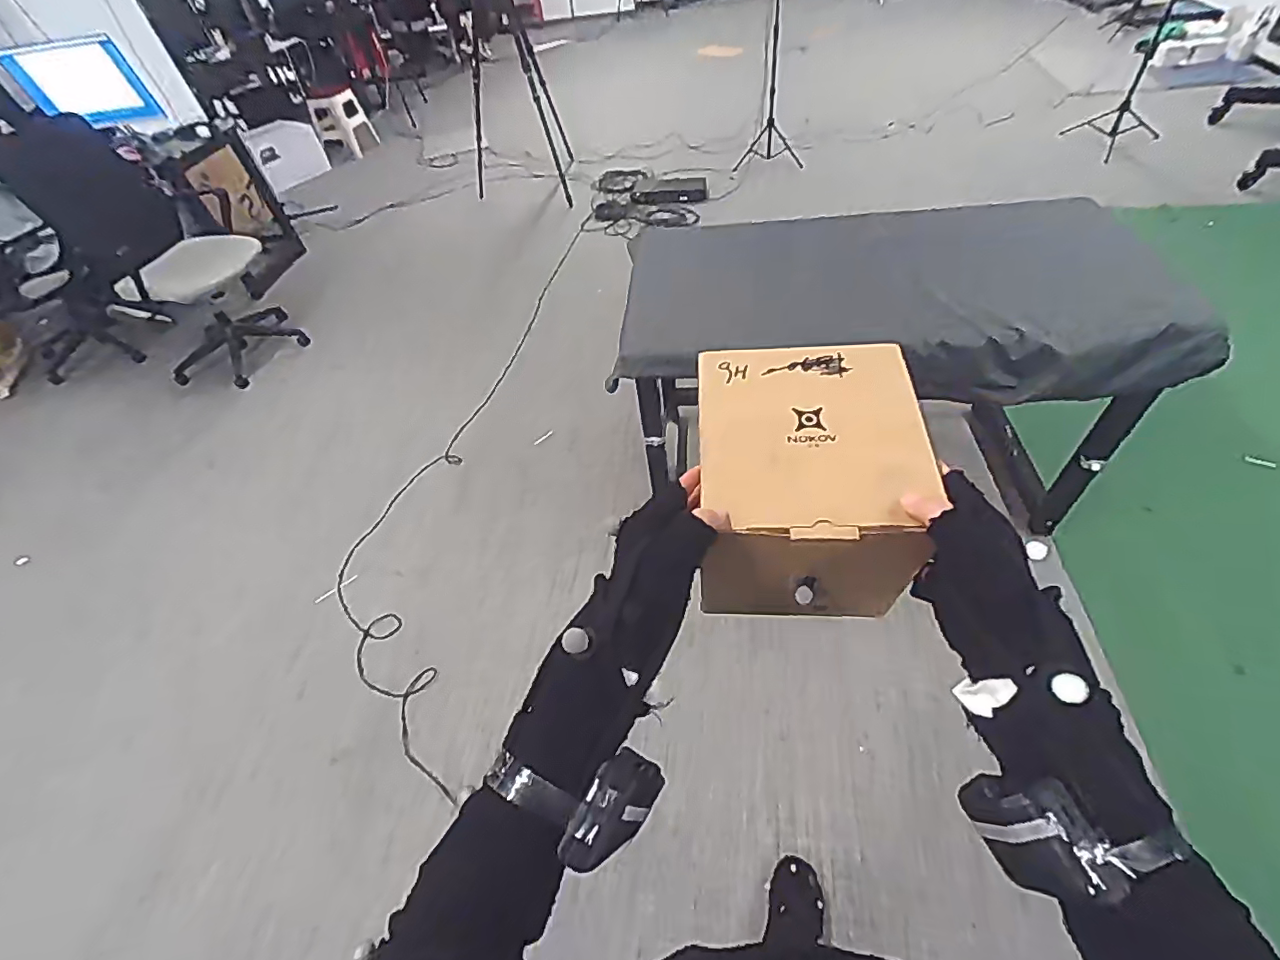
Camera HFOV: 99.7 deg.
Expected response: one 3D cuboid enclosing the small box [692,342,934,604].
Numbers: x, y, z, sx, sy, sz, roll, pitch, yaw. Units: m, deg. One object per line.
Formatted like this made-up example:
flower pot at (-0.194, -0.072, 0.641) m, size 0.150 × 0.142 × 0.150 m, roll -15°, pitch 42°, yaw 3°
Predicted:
small box at (0.133, 0.003, 0.483) m, size 0.168 × 0.176 × 0.179 m, roll -1°, pitch 57°, yaw 7°
